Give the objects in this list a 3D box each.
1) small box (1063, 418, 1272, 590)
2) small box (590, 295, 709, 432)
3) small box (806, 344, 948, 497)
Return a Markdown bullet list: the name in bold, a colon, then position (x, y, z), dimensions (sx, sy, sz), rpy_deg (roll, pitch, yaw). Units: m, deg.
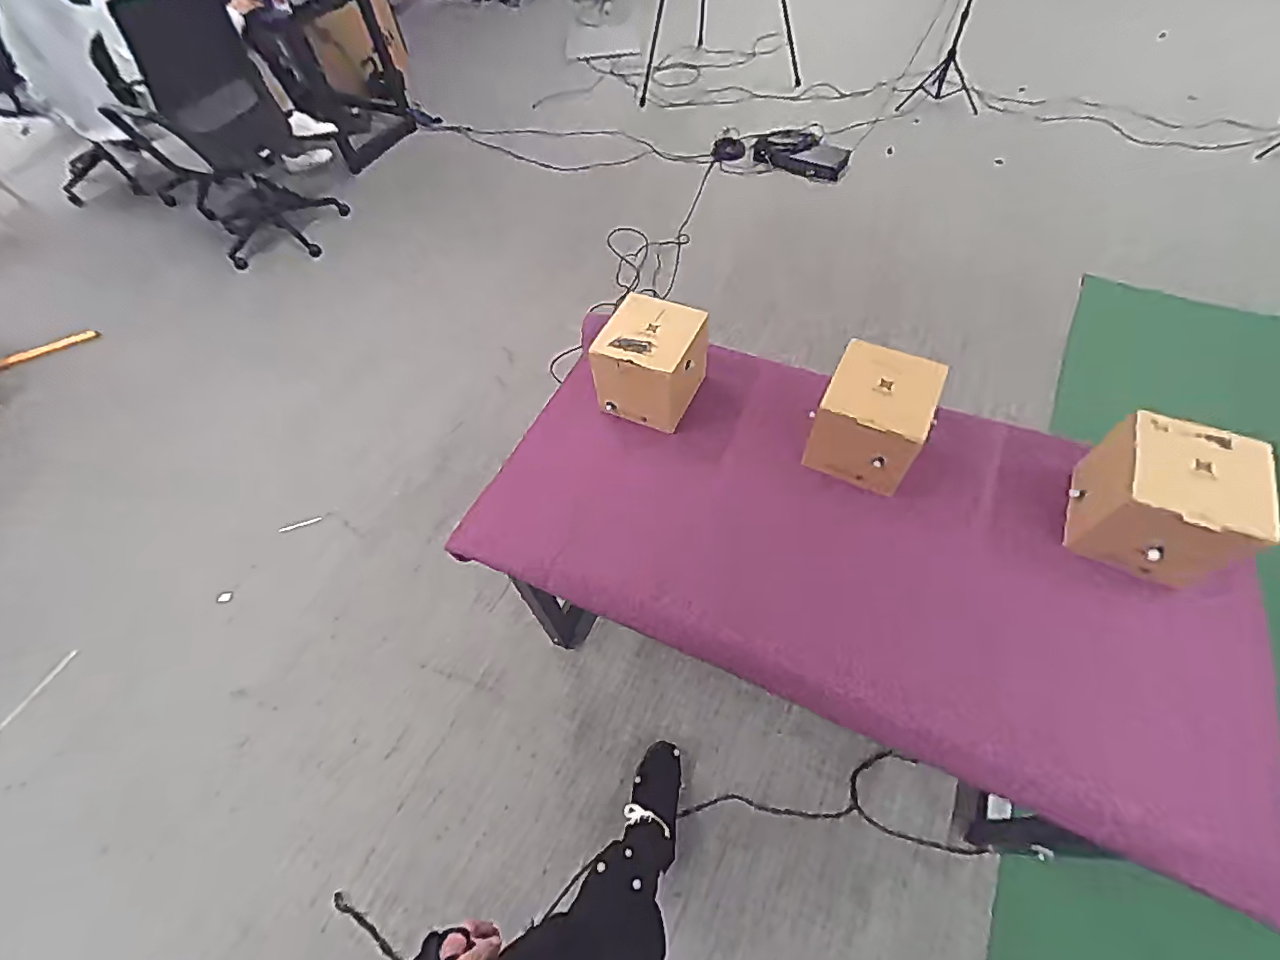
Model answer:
- **small box**: position (0.787, 0.043, 0.824), dimensions (0.168, 0.176, 0.179), rpy_deg (22, 63, 18)
- **small box**: position (0.025, -0.223, 1.053), dimensions (0.168, 0.176, 0.179), rpy_deg (21, 60, 16)
- **small box**: position (0.404, -0.099, 0.948), dimensions (0.168, 0.176, 0.179), rpy_deg (24, 61, 18)
